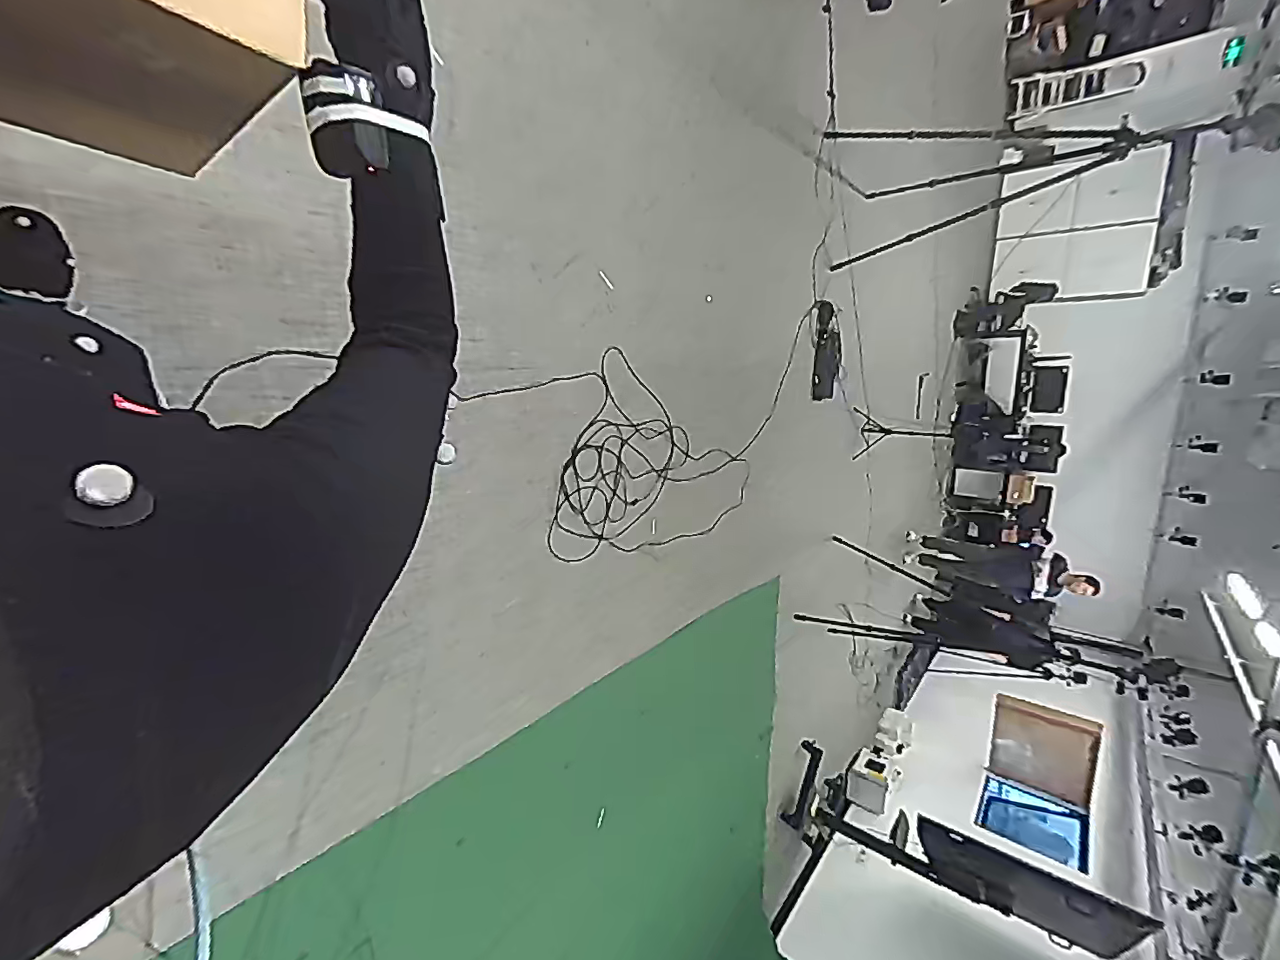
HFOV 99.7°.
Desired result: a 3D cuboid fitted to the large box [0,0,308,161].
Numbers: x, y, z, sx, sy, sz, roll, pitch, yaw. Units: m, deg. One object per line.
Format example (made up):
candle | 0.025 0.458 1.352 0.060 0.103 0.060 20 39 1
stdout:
large box | -0.461 -0.441 0.292 0.408 0.320 0.320 -5 102 -49
